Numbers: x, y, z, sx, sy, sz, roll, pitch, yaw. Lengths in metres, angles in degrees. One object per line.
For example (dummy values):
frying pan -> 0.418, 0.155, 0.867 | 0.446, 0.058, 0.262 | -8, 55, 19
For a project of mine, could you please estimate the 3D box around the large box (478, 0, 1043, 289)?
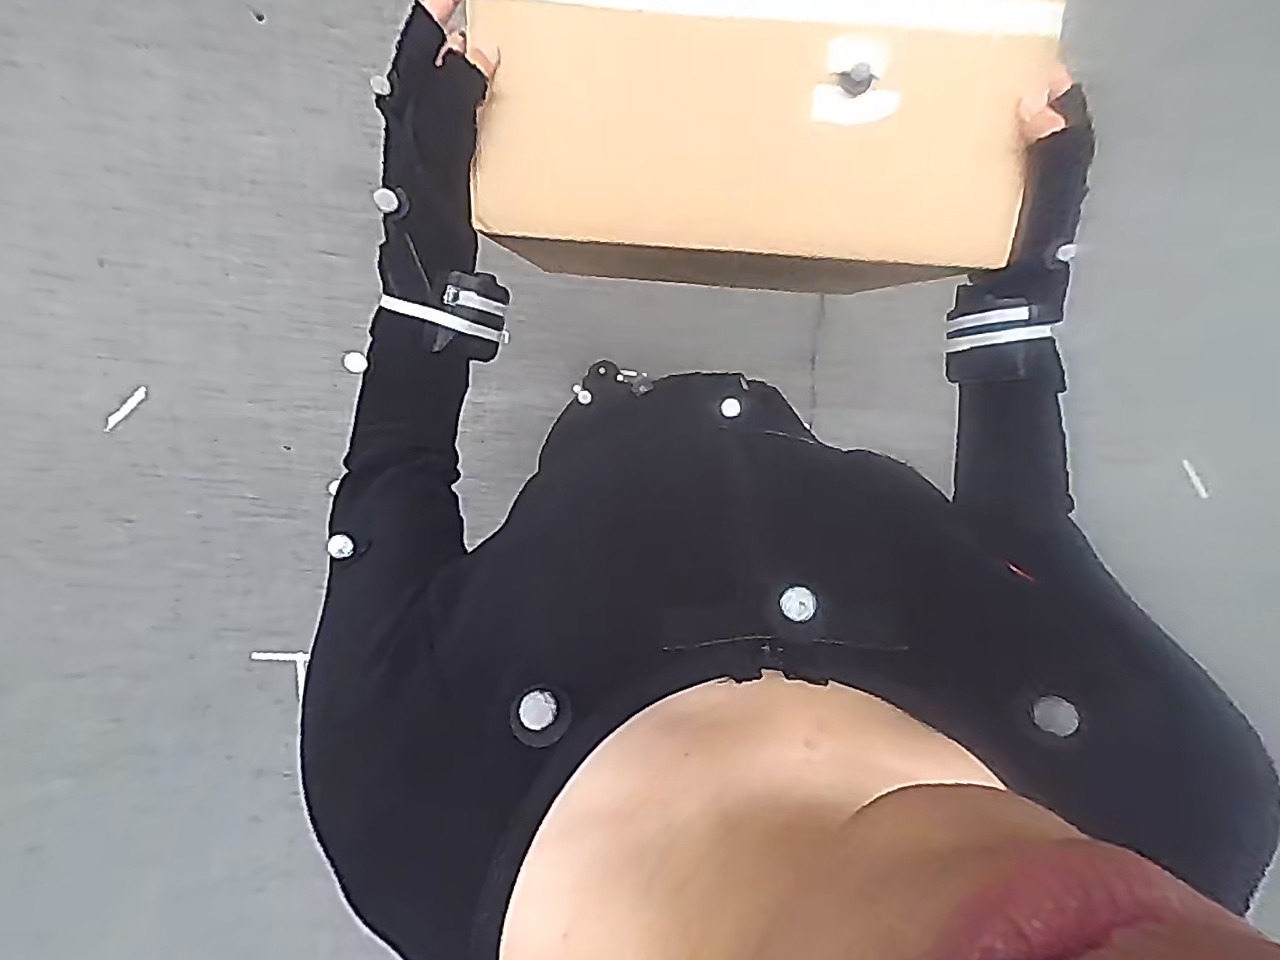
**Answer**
large box -> 0.081, -0.369, 0.524 | 0.408, 0.320, 0.320 | 3, 105, -2
